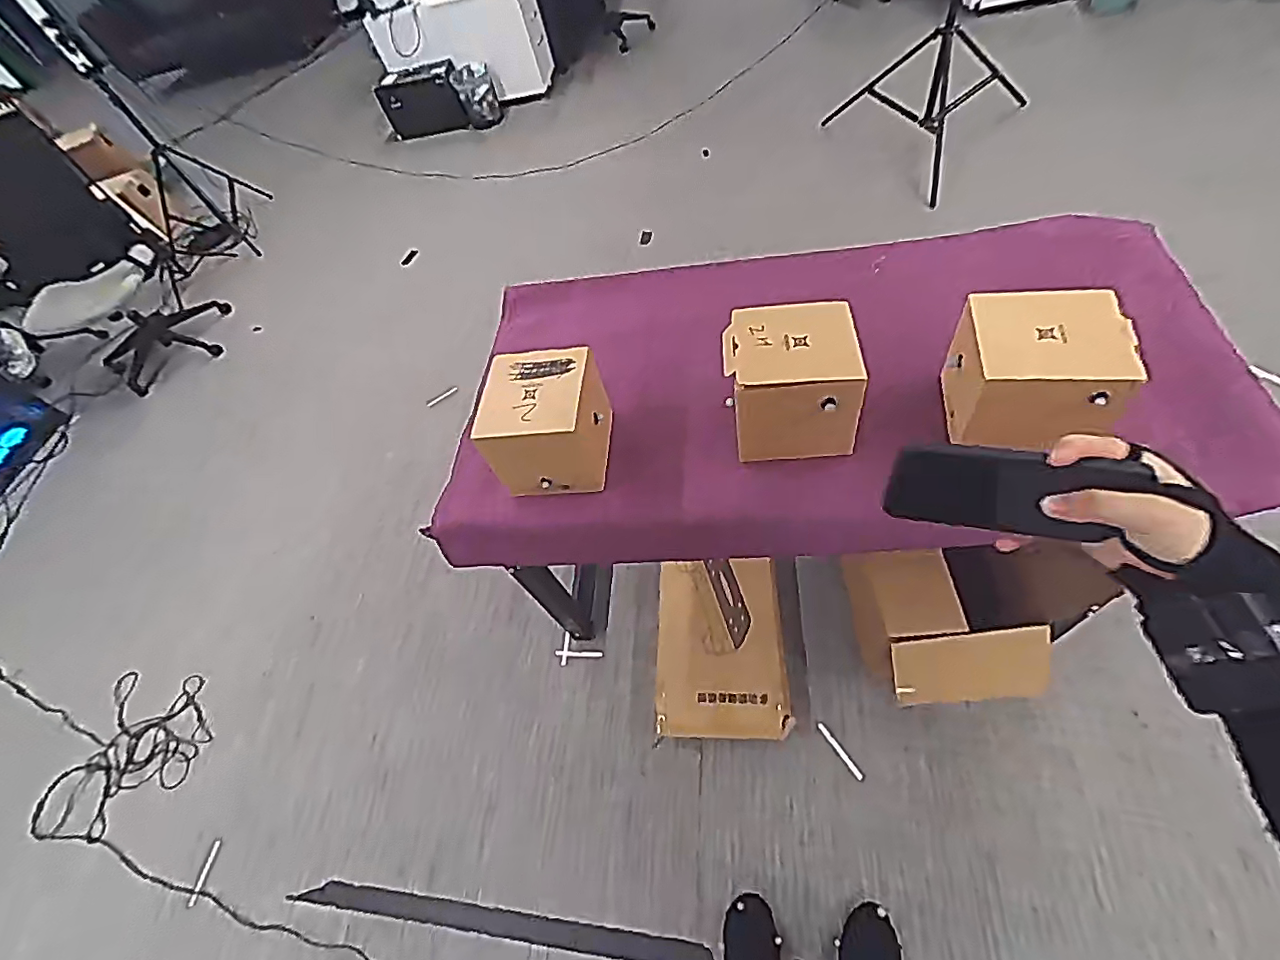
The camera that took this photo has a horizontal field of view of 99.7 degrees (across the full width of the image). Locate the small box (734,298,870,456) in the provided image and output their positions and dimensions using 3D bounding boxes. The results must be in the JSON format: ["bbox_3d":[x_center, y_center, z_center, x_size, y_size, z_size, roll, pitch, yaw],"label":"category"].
[{"bbox_3d":[0.238,-0.153,0.836,0.179,0.176,0.168,-4,54,11],"label":"small box"}]

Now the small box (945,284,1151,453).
[{"bbox_3d":[0.548,-0.151,0.763,0.179,0.176,0.168,3,58,15],"label":"small box"}]
